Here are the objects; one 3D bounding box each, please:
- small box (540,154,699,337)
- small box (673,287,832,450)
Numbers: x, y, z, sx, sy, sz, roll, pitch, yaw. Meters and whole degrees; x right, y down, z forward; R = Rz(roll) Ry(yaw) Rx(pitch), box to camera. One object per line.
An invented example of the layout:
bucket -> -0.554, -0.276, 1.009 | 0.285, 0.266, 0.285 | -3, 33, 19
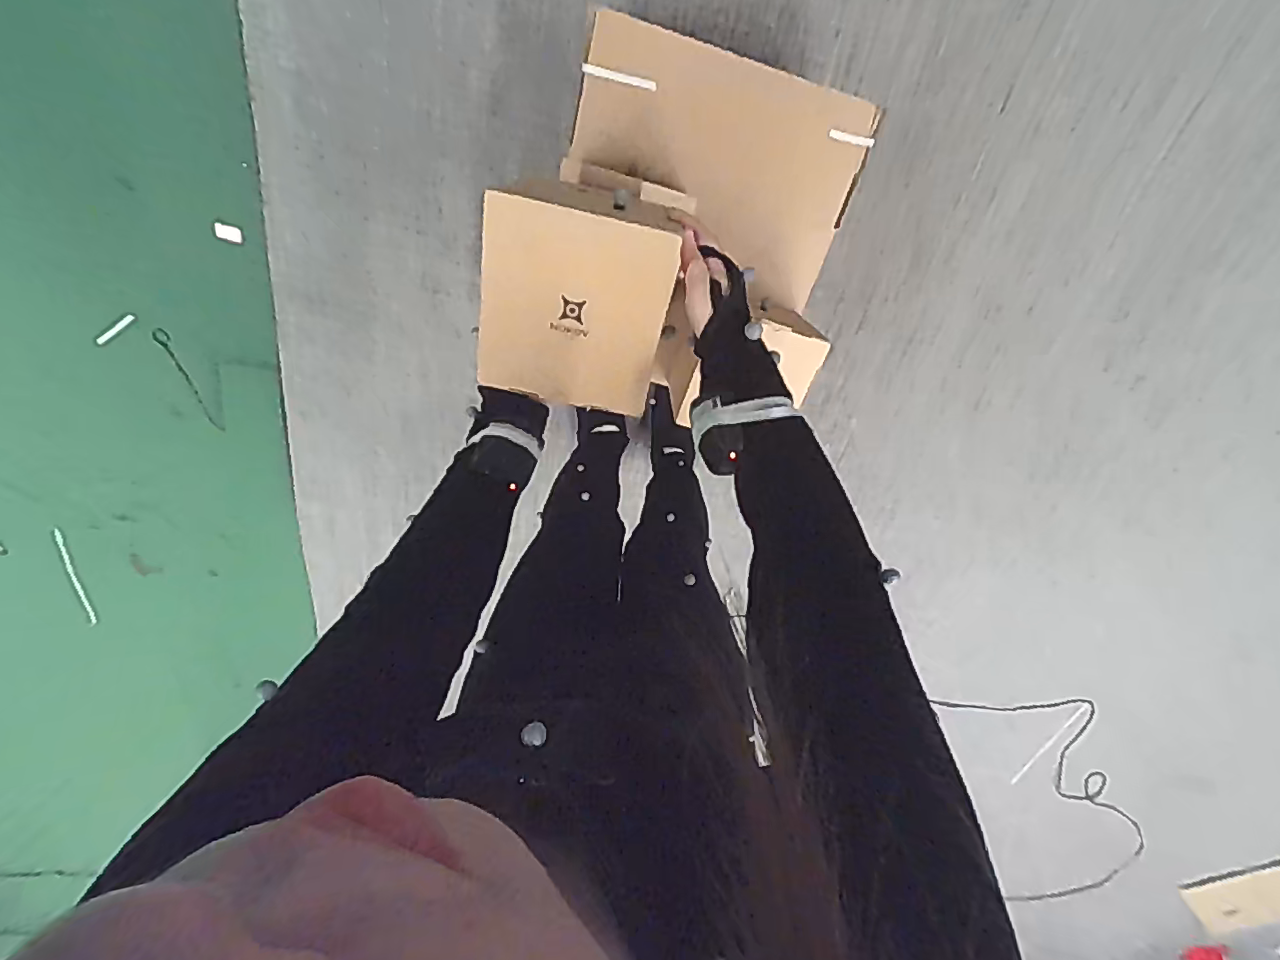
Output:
small box -> -0.028, -0.319, 0.737 | 0.168, 0.176, 0.179 | 14, 118, -7
small box -> 0.154, -0.175, 0.815 | 0.168, 0.176, 0.179 | 15, 117, -9
